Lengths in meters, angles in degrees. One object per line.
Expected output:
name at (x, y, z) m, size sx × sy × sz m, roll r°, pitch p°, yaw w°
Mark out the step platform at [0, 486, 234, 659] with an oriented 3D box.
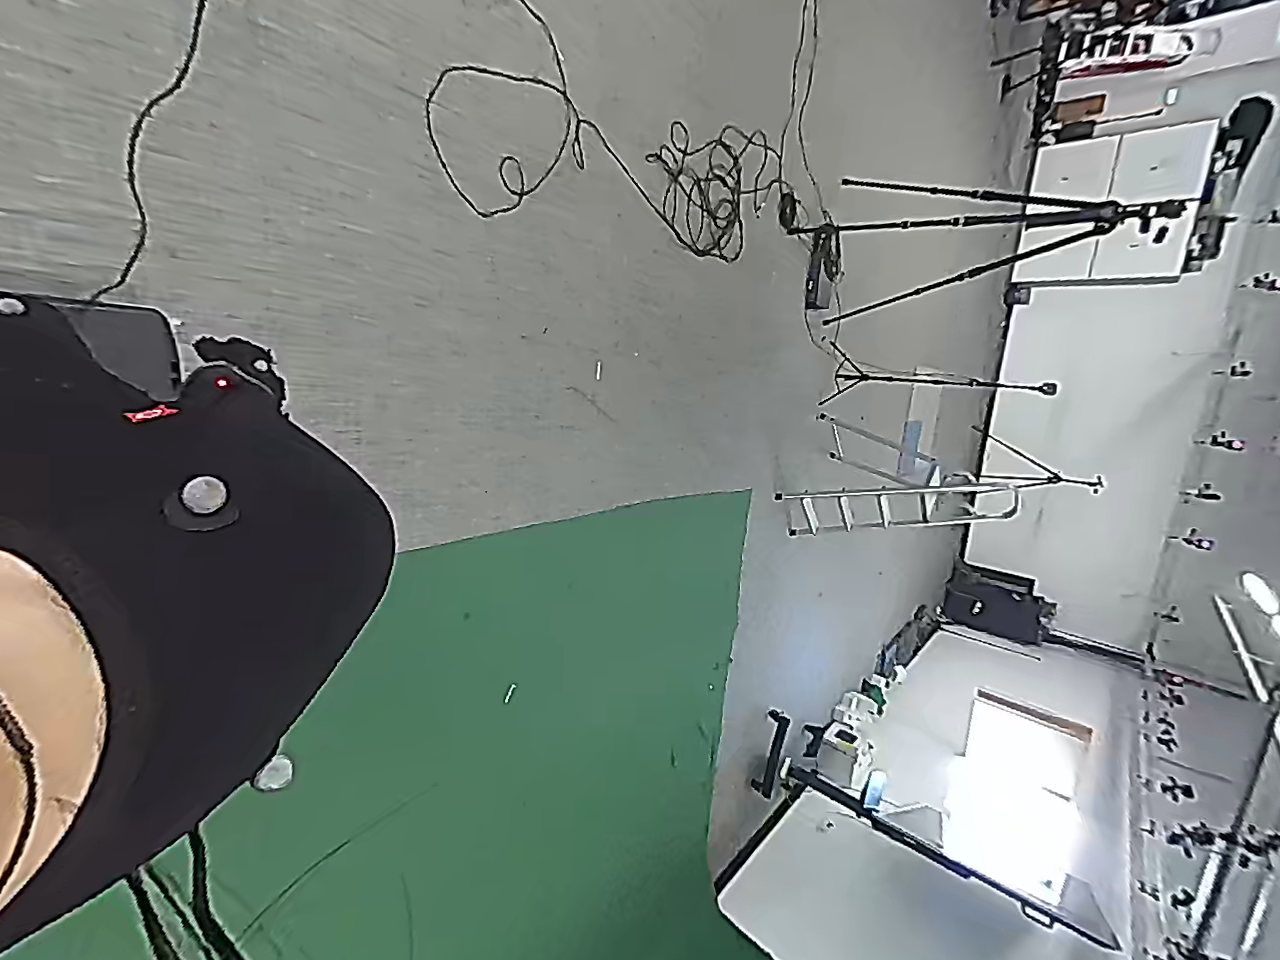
step platform at (-1.088, 0.187, 0.858) m, size 0.684 × 0.204 × 0.286 m, roll -9°, pitch 107°, yaw -49°
